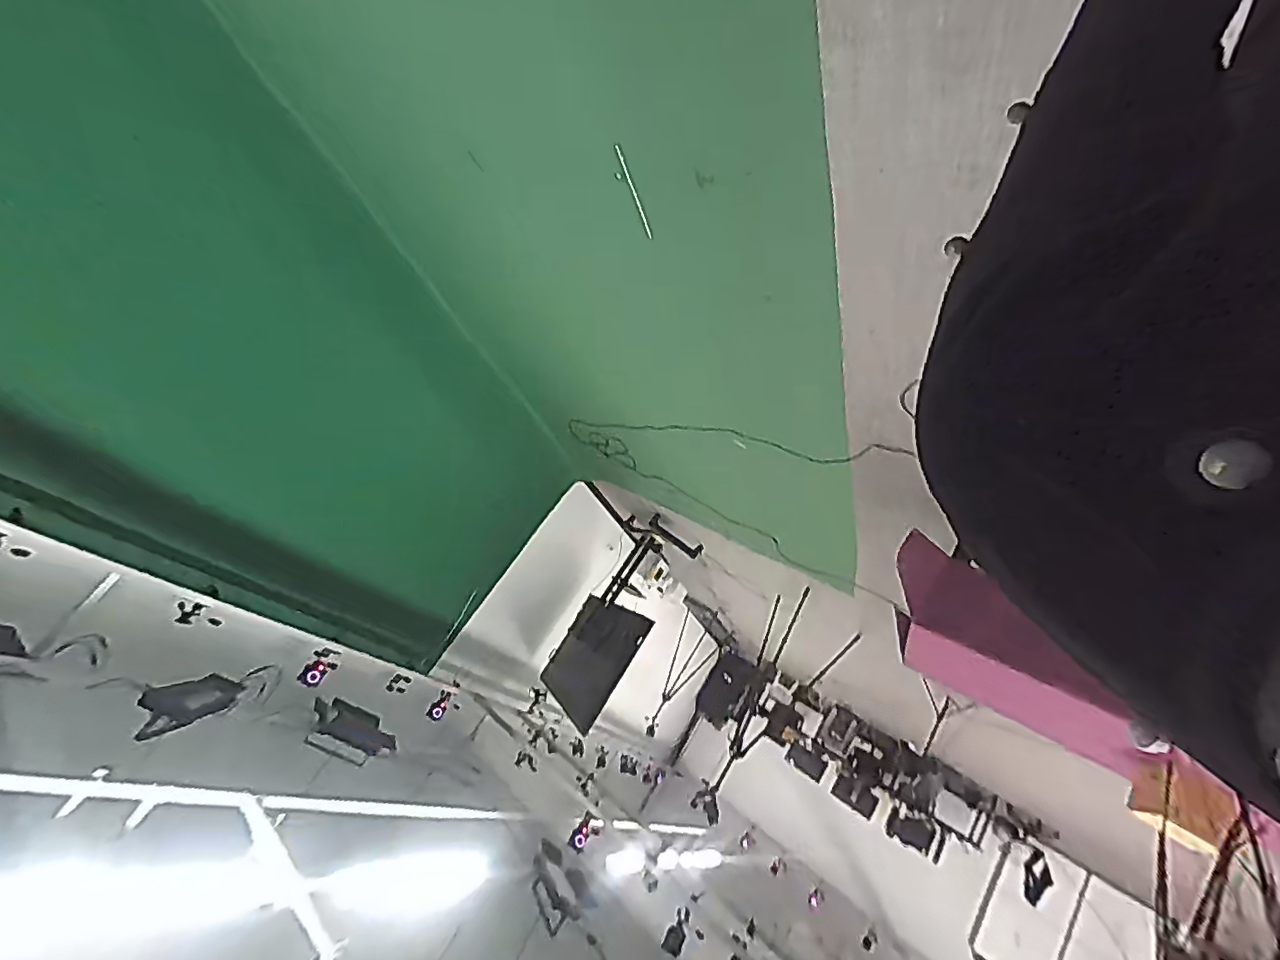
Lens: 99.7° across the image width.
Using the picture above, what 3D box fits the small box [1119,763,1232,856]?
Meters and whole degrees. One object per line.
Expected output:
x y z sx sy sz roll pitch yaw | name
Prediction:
1.645 1.003 1.661 0.179 0.176 0.168 29 162 23 | small box
